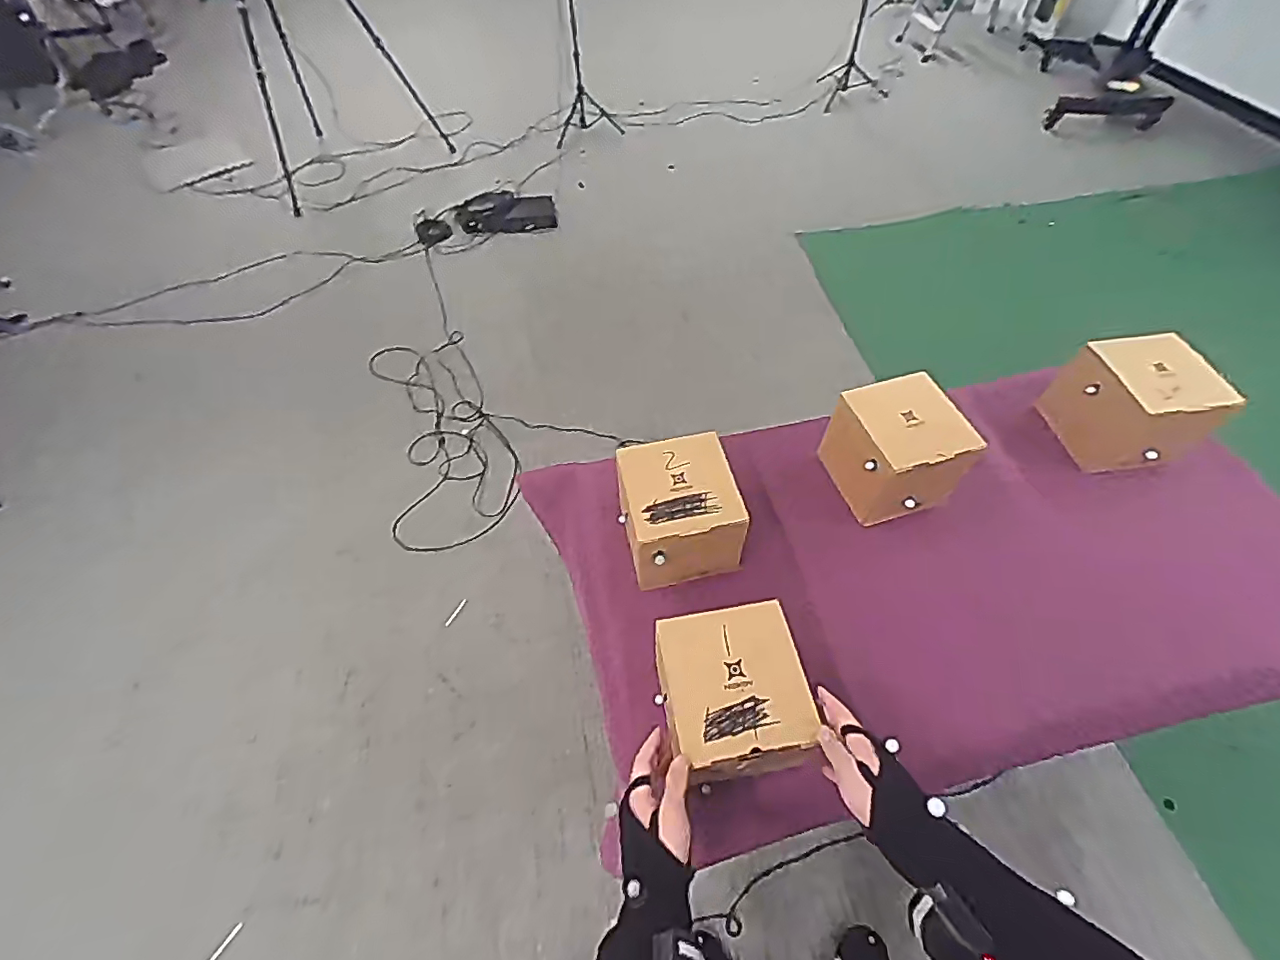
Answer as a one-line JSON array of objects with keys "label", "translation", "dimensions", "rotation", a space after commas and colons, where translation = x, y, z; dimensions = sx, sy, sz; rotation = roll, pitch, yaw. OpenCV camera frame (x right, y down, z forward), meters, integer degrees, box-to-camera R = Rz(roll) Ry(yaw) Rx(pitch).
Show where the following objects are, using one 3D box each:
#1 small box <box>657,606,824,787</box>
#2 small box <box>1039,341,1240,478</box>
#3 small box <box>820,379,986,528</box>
[{"label": "small box", "translation": [0.118, 0.291, 0.711], "dimensions": [0.168, 0.176, 0.179], "rotation": [-8, 54, -5]}, {"label": "small box", "translation": [0.883, -0.126, 0.983], "dimensions": [0.168, 0.176, 0.179], "rotation": [-7, 56, -2]}, {"label": "small box", "translation": [0.440, -0.044, 0.941], "dimensions": [0.168, 0.176, 0.179], "rotation": [-15, 57, -9]}]
